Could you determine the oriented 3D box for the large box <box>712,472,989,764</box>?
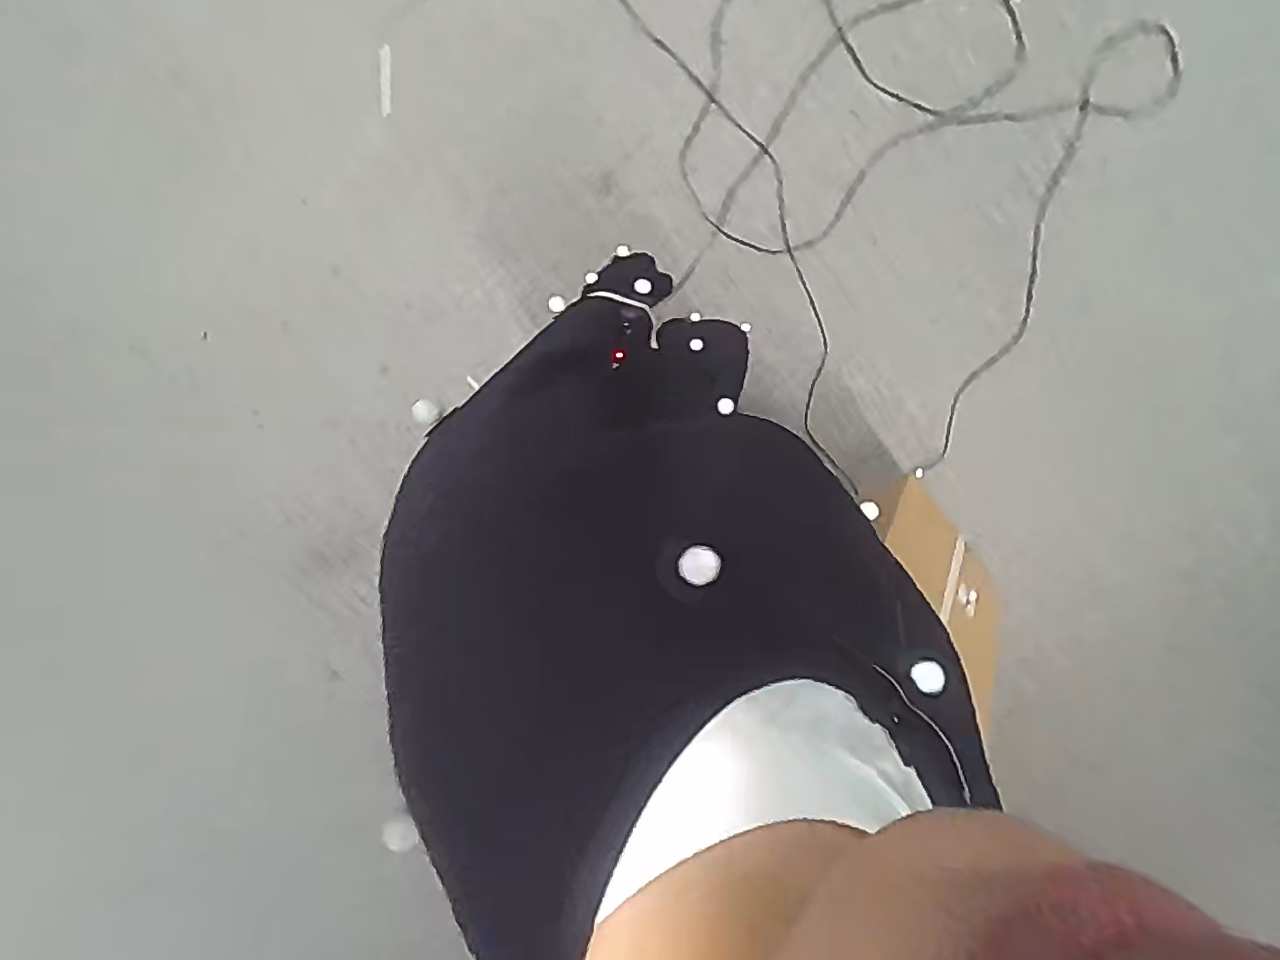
[{"bbox_3d":[0.403,0.258,1.020,0.320,0.408,0.320,52,136,-6],"label":"large box"}]
